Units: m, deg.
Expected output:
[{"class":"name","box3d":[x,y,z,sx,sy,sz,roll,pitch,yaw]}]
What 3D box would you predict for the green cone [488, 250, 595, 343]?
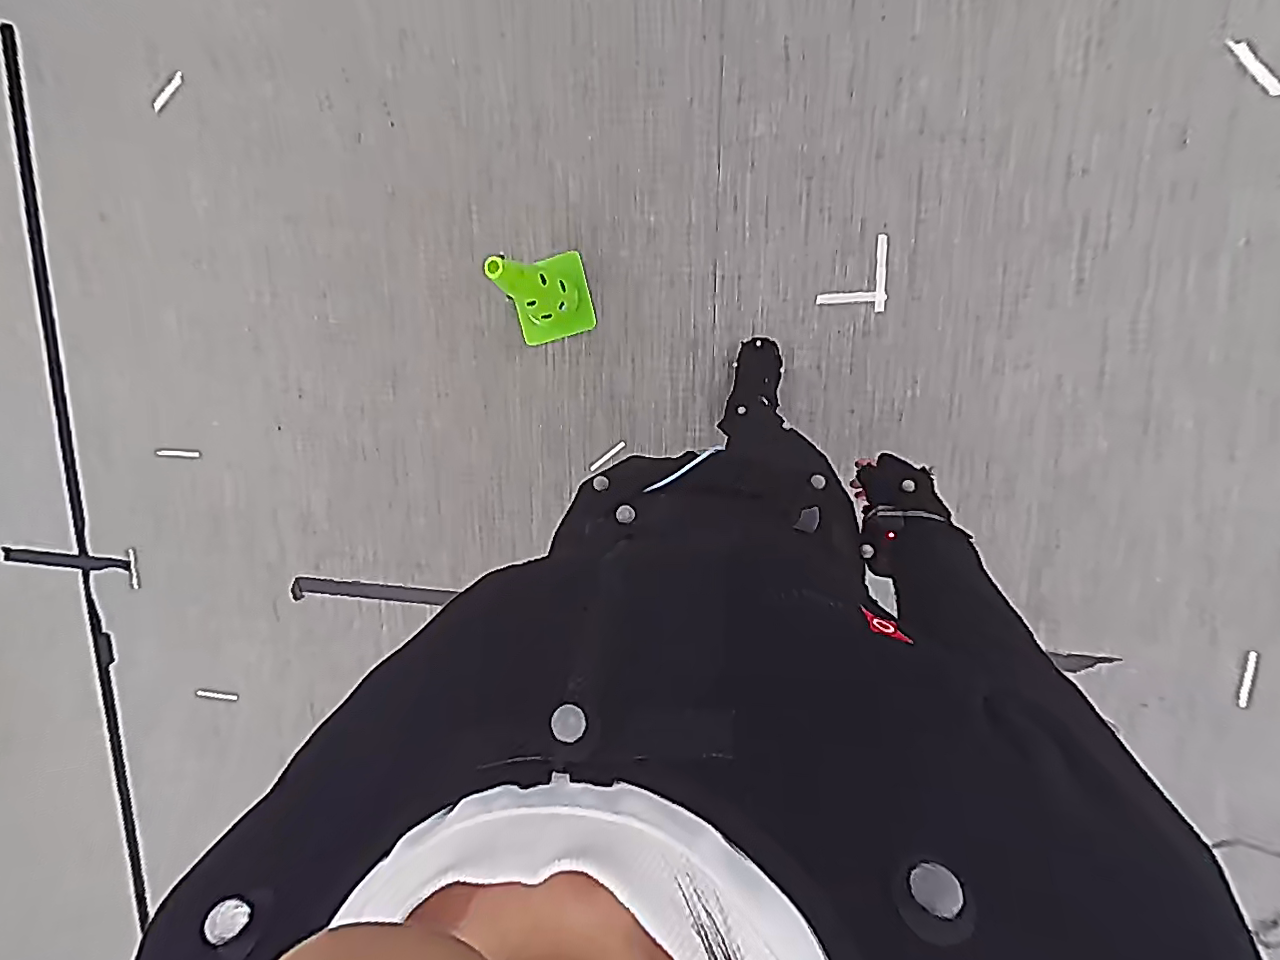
[{"class":"green cone","box3d":[-0.255,-0.443,1.226,0.202,0.368,0.200,-13,97,10]}]
